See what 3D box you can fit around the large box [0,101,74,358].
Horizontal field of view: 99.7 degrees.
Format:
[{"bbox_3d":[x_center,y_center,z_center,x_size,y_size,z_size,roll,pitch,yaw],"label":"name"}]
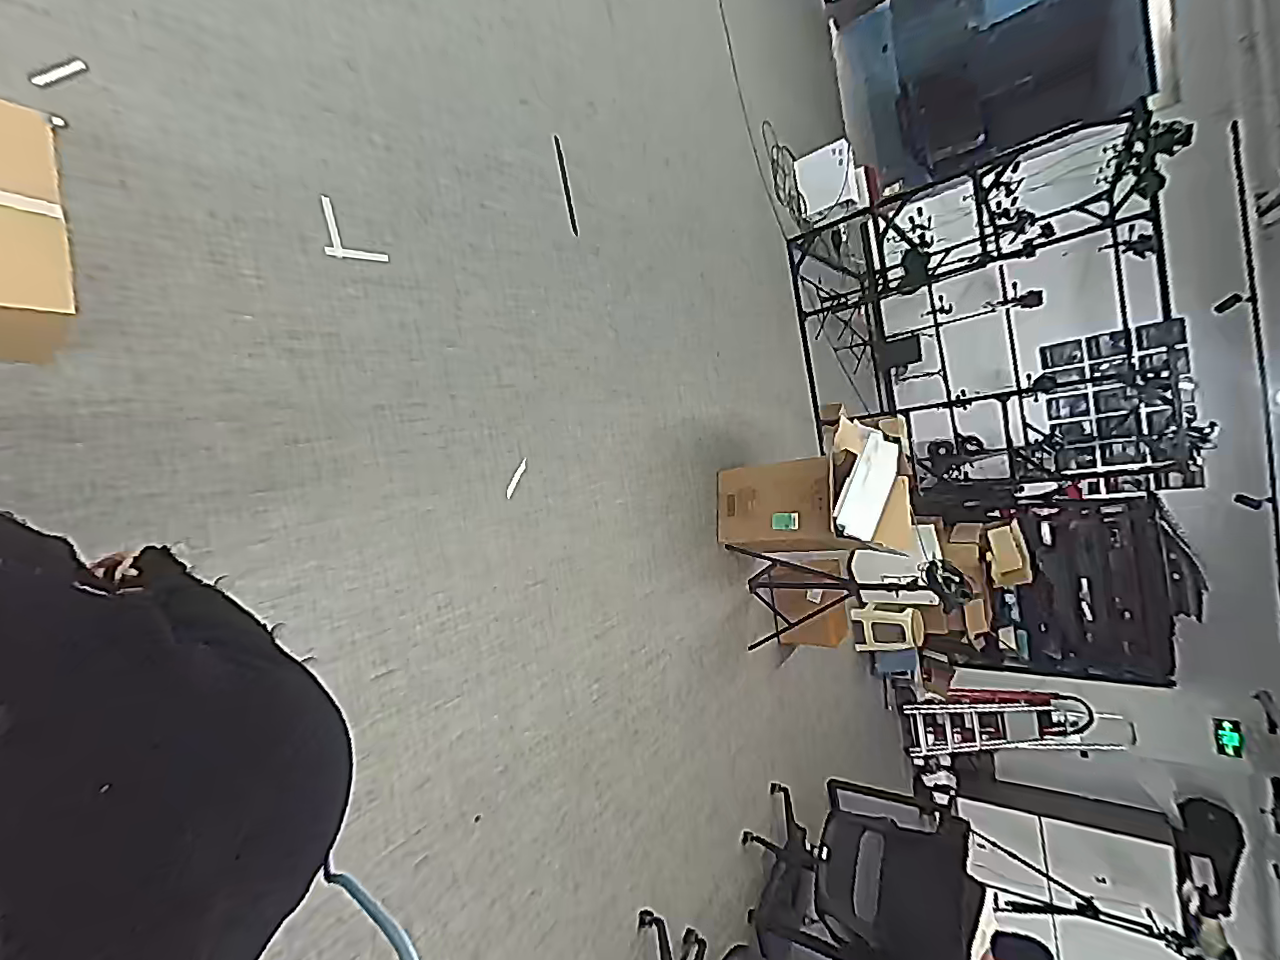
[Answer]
[{"bbox_3d":[-1.123,-0.373,0.755,0.408,0.320,0.320,-7,90,-54],"label":"large box"}]
